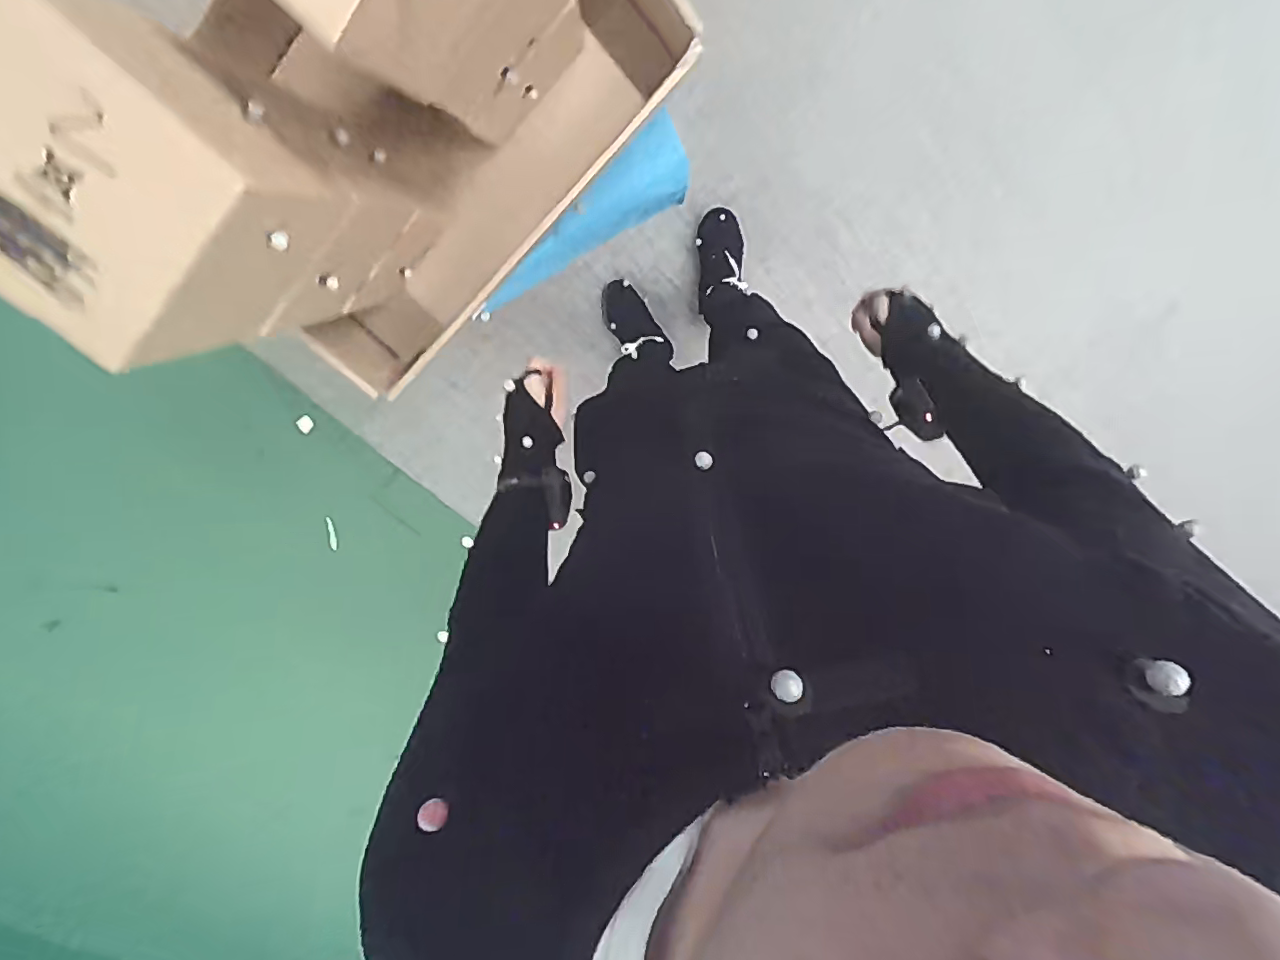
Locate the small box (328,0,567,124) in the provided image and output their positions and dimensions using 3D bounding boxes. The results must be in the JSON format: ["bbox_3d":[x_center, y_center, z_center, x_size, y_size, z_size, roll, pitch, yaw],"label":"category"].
[{"bbox_3d":[-0.187,-0.464,0.488,0.179,0.176,0.168,42,108,-18],"label":"small box"}]

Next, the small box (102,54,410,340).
[{"bbox_3d":[-0.374,-0.277,0.564,0.168,0.176,0.179,42,105,-19],"label":"small box"}]
